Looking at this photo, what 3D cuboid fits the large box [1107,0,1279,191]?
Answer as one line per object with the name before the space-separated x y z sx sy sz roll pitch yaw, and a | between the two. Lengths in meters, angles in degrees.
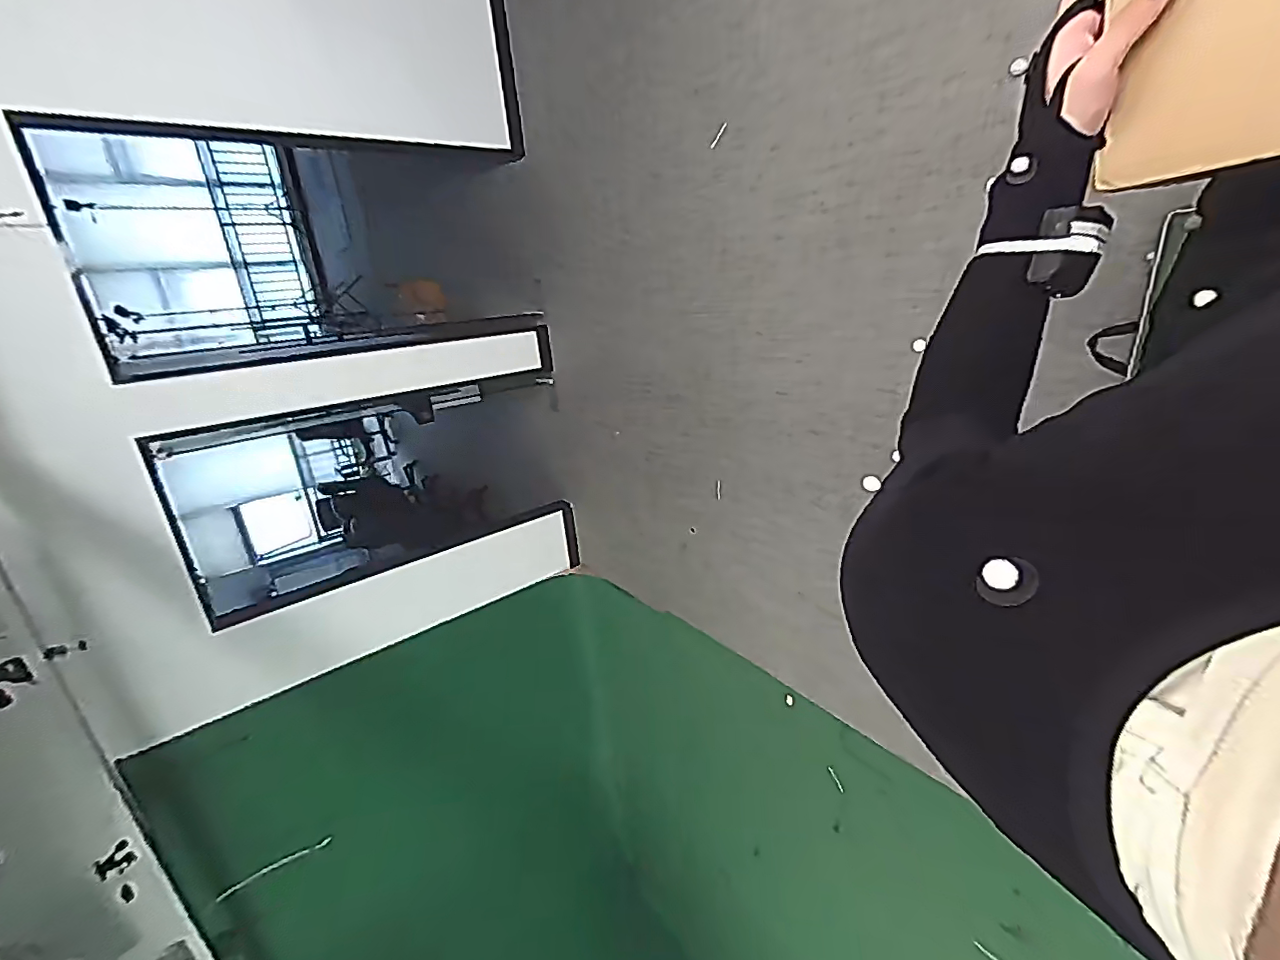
large box | 0.596 -0.410 0.346 0.408 0.320 0.320 10 116 49
